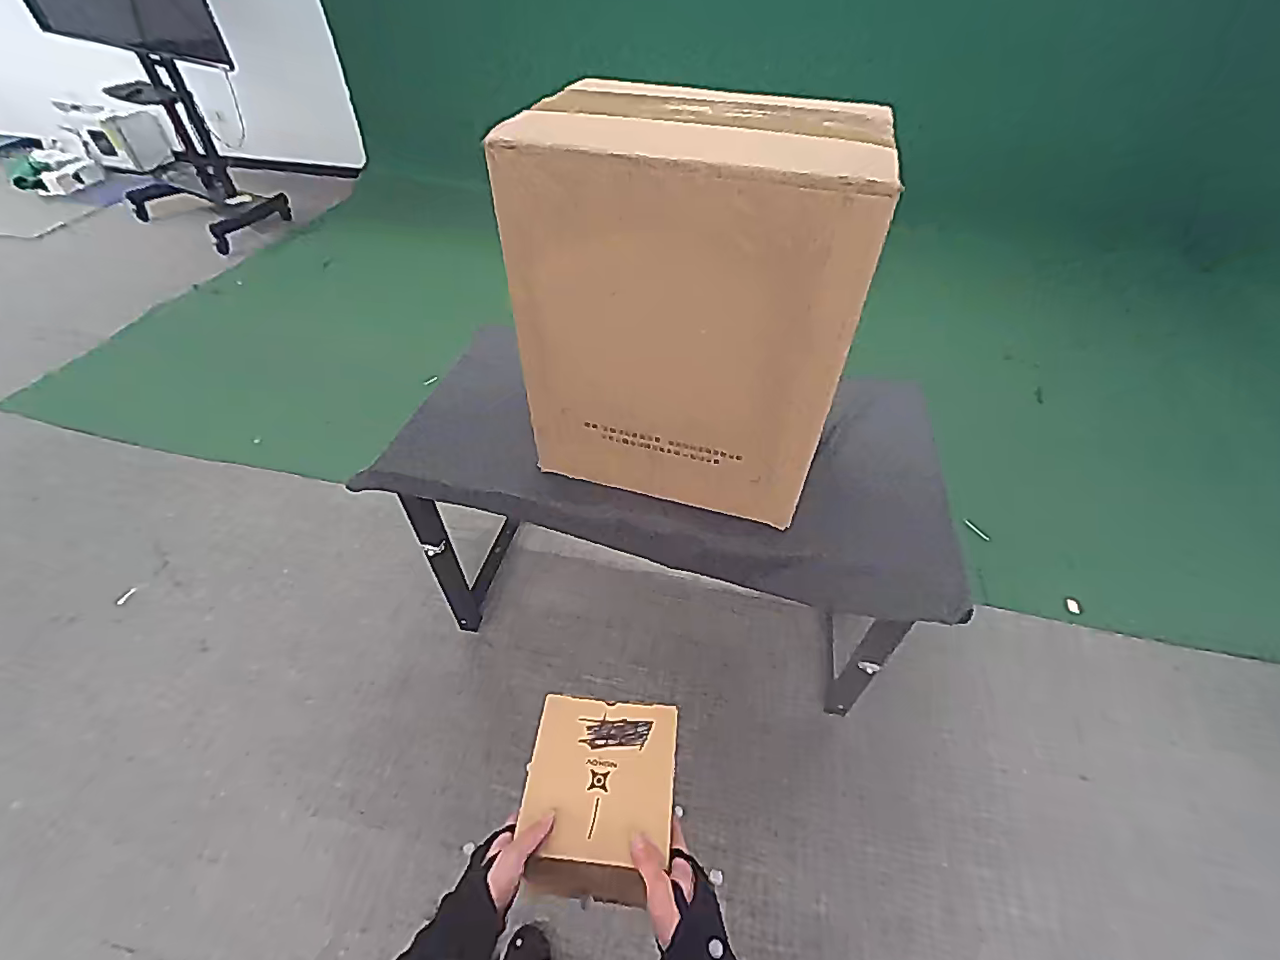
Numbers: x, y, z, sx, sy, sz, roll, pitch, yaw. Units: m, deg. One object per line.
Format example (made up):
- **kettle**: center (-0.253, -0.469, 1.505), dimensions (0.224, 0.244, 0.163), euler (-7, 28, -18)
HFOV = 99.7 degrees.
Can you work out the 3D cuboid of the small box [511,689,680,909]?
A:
- **small box**: center (-0.045, 0.389, 0.664), dimensions (0.168, 0.176, 0.179), euler (6, 41, 6)
